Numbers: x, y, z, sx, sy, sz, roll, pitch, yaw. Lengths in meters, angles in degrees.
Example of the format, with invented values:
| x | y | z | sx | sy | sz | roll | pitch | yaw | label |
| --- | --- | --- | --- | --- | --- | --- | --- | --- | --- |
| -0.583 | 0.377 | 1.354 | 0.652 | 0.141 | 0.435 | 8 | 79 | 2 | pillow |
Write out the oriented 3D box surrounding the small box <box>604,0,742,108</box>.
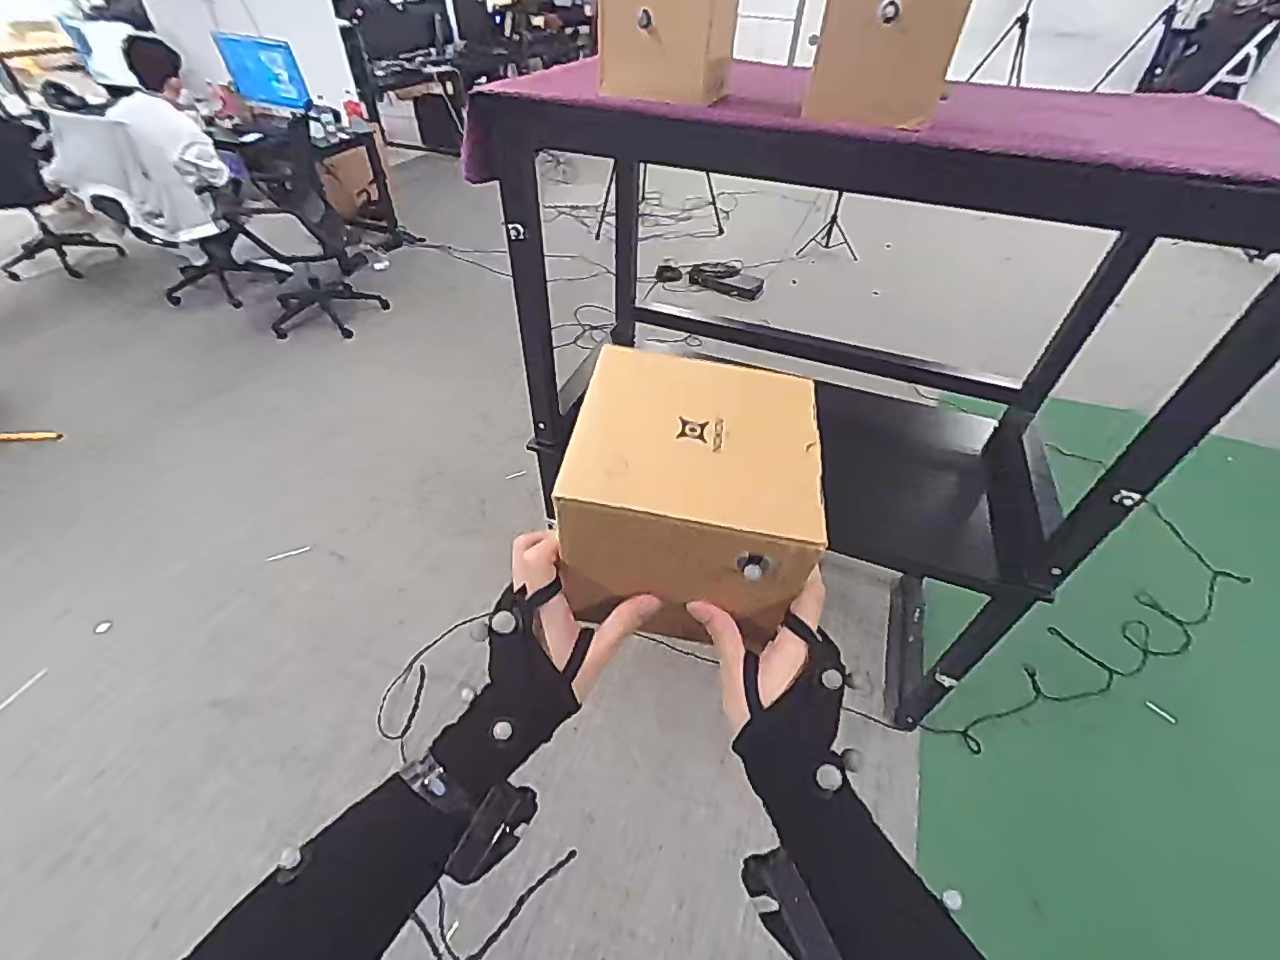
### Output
| x | y | z | sx | sy | sz | roll | pitch | yaw | label |
| --- | --- | --- | --- | --- | --- | --- | --- | --- | --- |
| 0.050 | -0.688 | 0.835 | 0.179 | 0.176 | 0.168 | 15 | 45 | 14 | small box |

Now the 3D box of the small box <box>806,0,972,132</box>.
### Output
| x | y | z | sx | sy | sz | roll | pitch | yaw | label |
| --- | --- | --- | --- | --- | --- | --- | --- | --- | --- |
| 0.343 | -0.602 | 0.756 | 0.179 | 0.176 | 0.168 | 16 | 45 | 14 | small box |

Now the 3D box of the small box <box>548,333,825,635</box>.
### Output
| x | y | z | sx | sy | sz | roll | pitch | yaw | label |
| --- | --- | --- | --- | --- | --- | --- | --- | --- | --- |
| 0.033 | 0.007 | 0.441 | 0.179 | 0.176 | 0.168 | 10 | 49 | 2 | small box |
